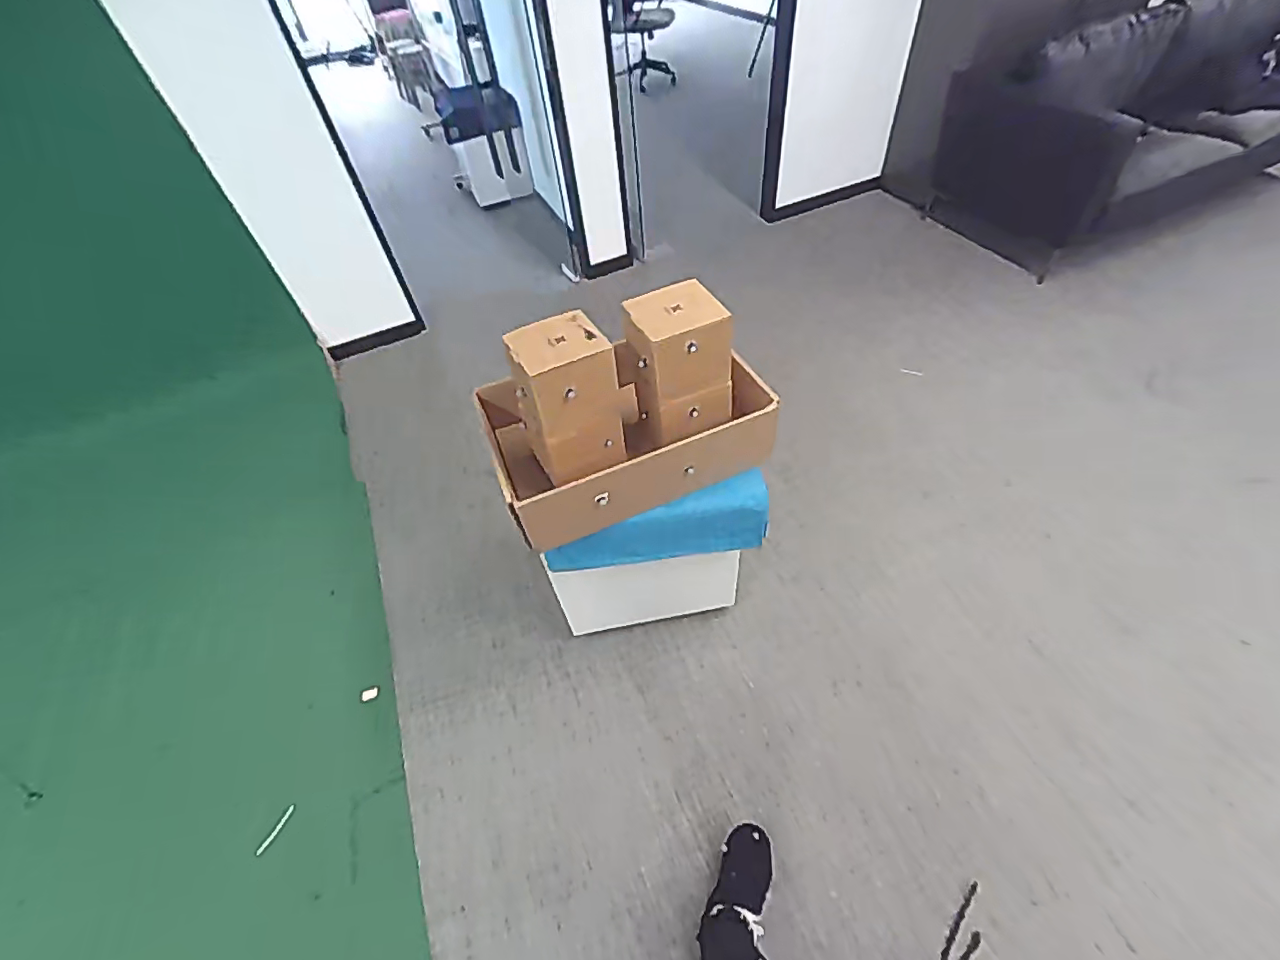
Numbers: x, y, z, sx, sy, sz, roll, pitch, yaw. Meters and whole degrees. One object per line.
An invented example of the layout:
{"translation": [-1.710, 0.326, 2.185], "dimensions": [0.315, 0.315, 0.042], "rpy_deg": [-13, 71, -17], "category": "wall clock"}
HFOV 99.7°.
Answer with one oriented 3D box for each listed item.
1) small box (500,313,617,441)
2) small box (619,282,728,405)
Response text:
{"translation": [-0.161, -0.209, 1.109], "dimensions": [0.179, 0.176, 0.168], "rpy_deg": [-25, 51, -15], "category": "small box"}
{"translation": [0.074, -0.285, 1.146], "dimensions": [0.179, 0.176, 0.168], "rpy_deg": [-21, 50, -10], "category": "small box"}
